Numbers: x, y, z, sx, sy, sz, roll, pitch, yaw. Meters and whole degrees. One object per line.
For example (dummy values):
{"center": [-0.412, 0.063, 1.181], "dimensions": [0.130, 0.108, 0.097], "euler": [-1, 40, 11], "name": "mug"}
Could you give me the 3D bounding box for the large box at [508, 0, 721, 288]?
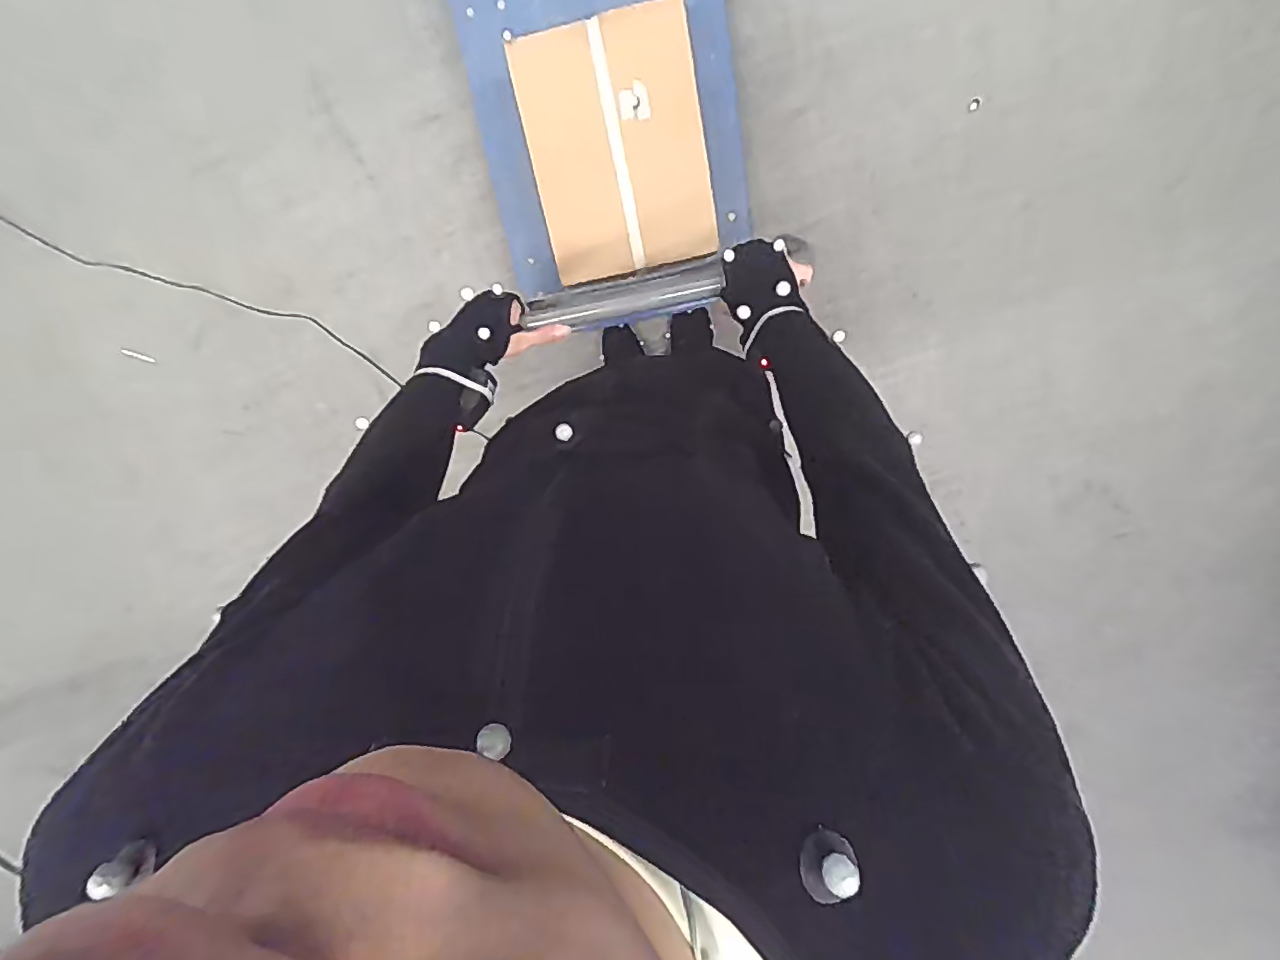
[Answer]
{"center": [-0.030, -0.635, 1.112], "dimensions": [0.320, 0.320, 0.408], "euler": [-10, 108, 5], "name": "large box"}
